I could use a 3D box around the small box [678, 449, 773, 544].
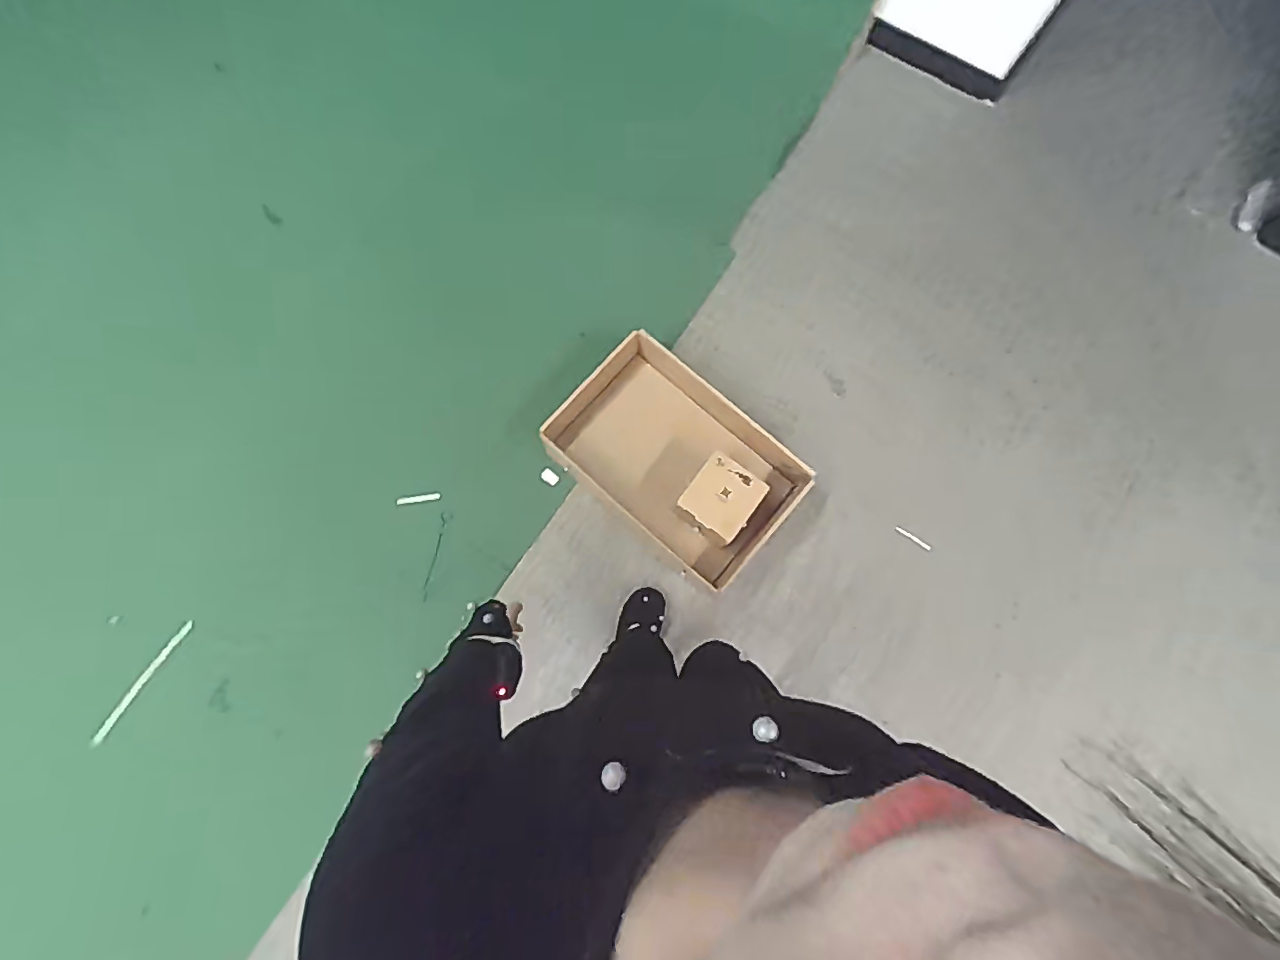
[{"bbox_3d":[0.214,0.052,1.395,0.168,0.176,0.179,37,83,7],"label":"small box"}]
